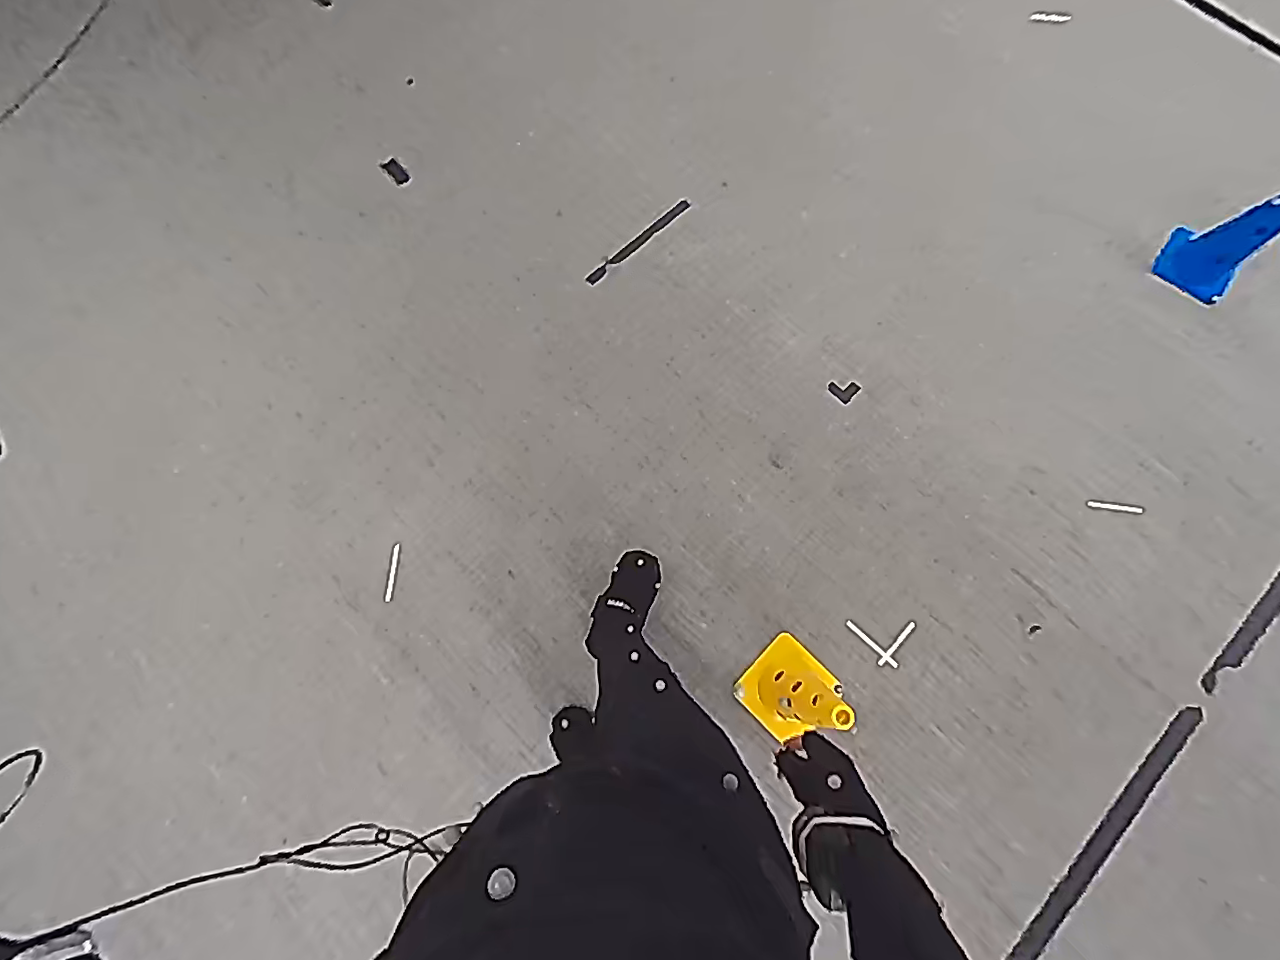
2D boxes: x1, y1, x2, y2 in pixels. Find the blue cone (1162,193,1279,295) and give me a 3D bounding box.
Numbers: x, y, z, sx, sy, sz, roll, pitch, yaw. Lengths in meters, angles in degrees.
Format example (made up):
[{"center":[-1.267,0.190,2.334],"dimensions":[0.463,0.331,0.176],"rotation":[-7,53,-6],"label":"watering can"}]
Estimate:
[{"center":[1.616,-0.680,1.396],"dimensions":[0.192,0.380,0.193],"rotation":[39,79,8],"label":"blue cone"}]
